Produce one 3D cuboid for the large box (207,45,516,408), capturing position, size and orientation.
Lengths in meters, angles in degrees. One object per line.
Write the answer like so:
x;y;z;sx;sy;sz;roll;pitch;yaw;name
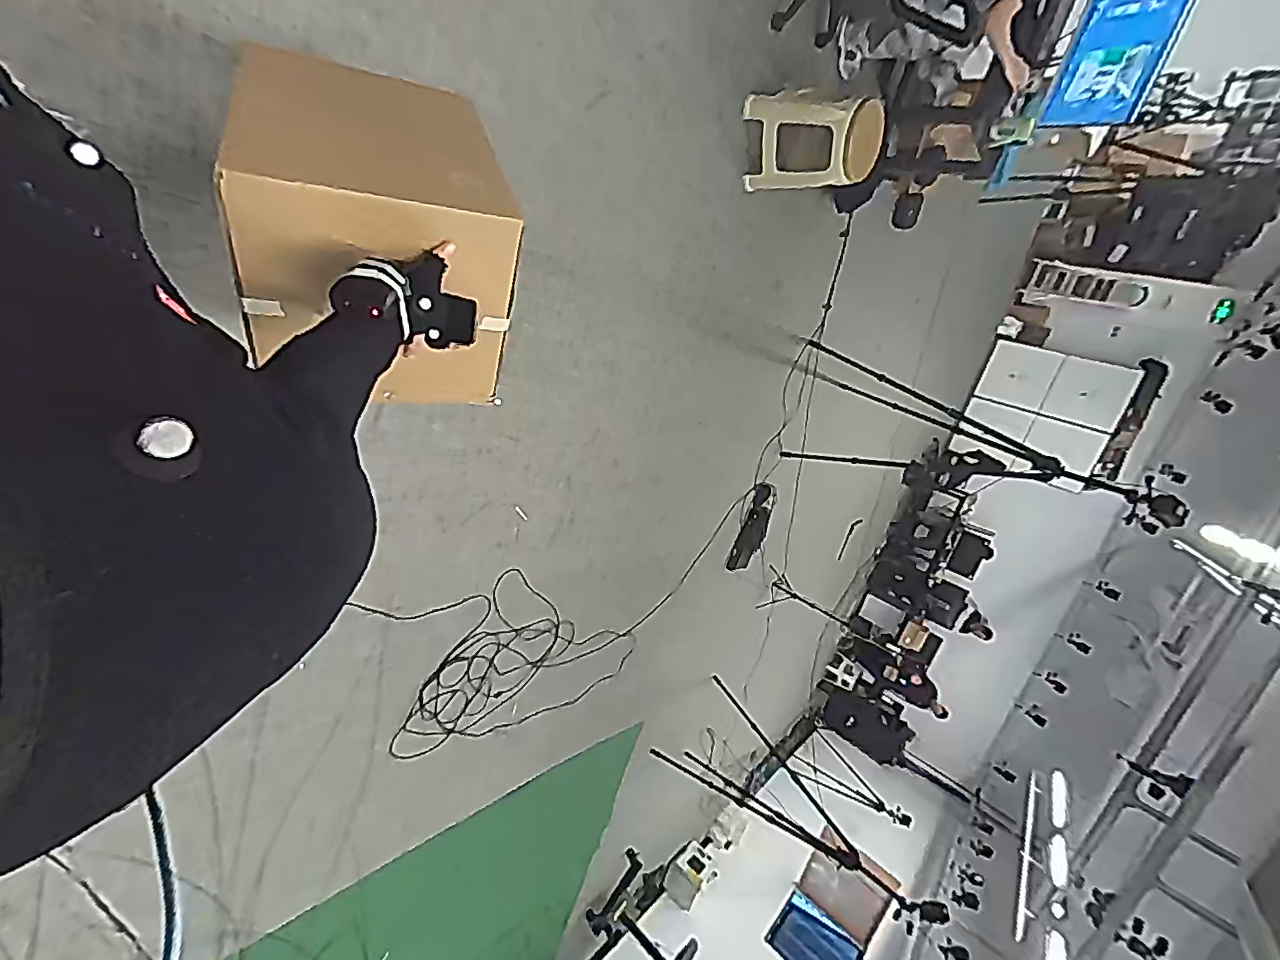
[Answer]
-0.400;-0.360;0.807;0.320;0.408;0.320;-3;141;-27;large box
